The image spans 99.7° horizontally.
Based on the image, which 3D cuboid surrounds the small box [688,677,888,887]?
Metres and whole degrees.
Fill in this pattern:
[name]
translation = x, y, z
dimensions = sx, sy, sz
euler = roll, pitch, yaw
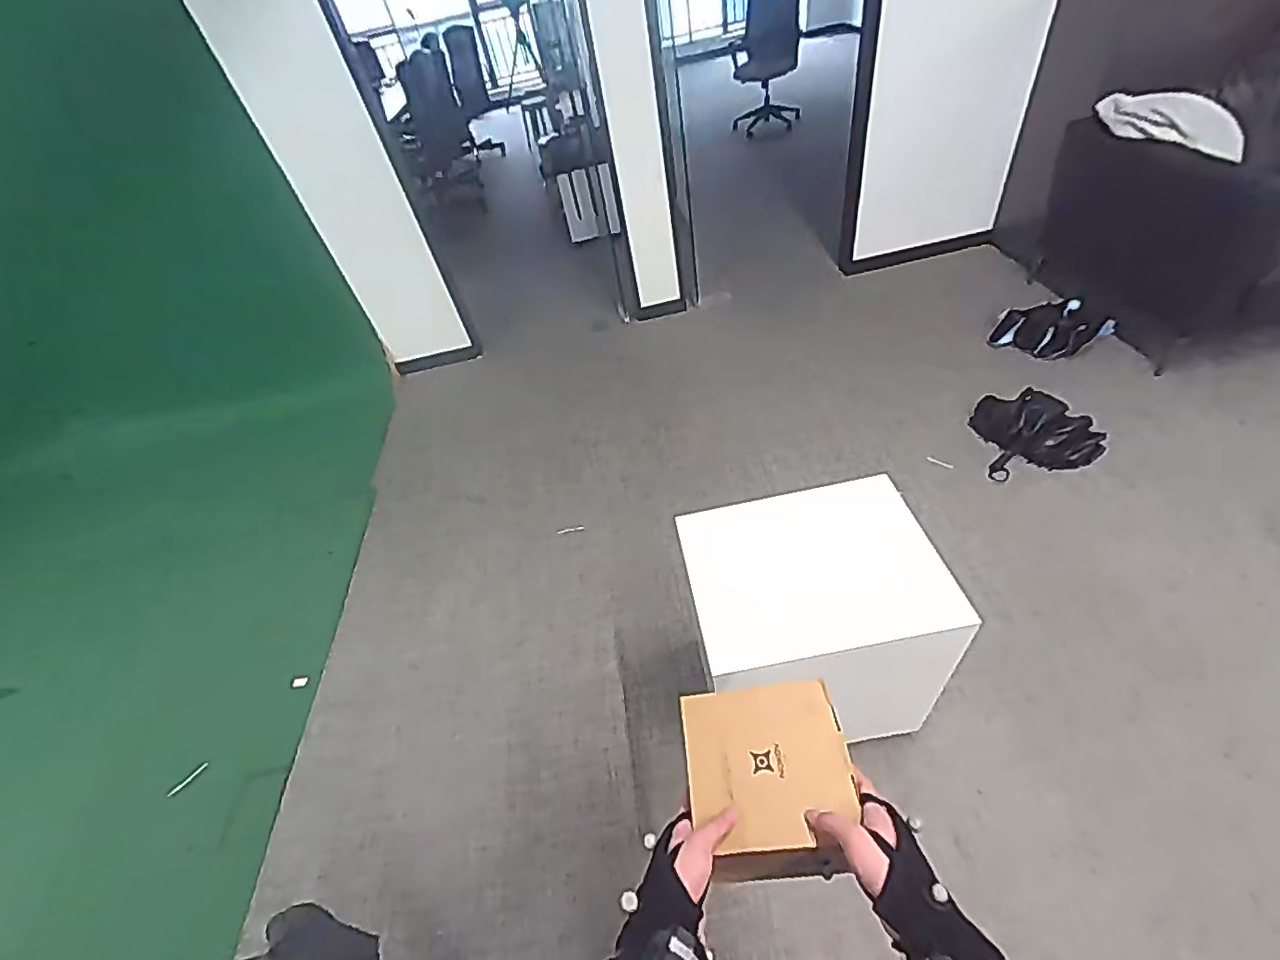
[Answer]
[small box]
translation = 0.158, 0.352, 0.627
dimensions = 0.179, 0.176, 0.168
euler = -10, 44, 4
